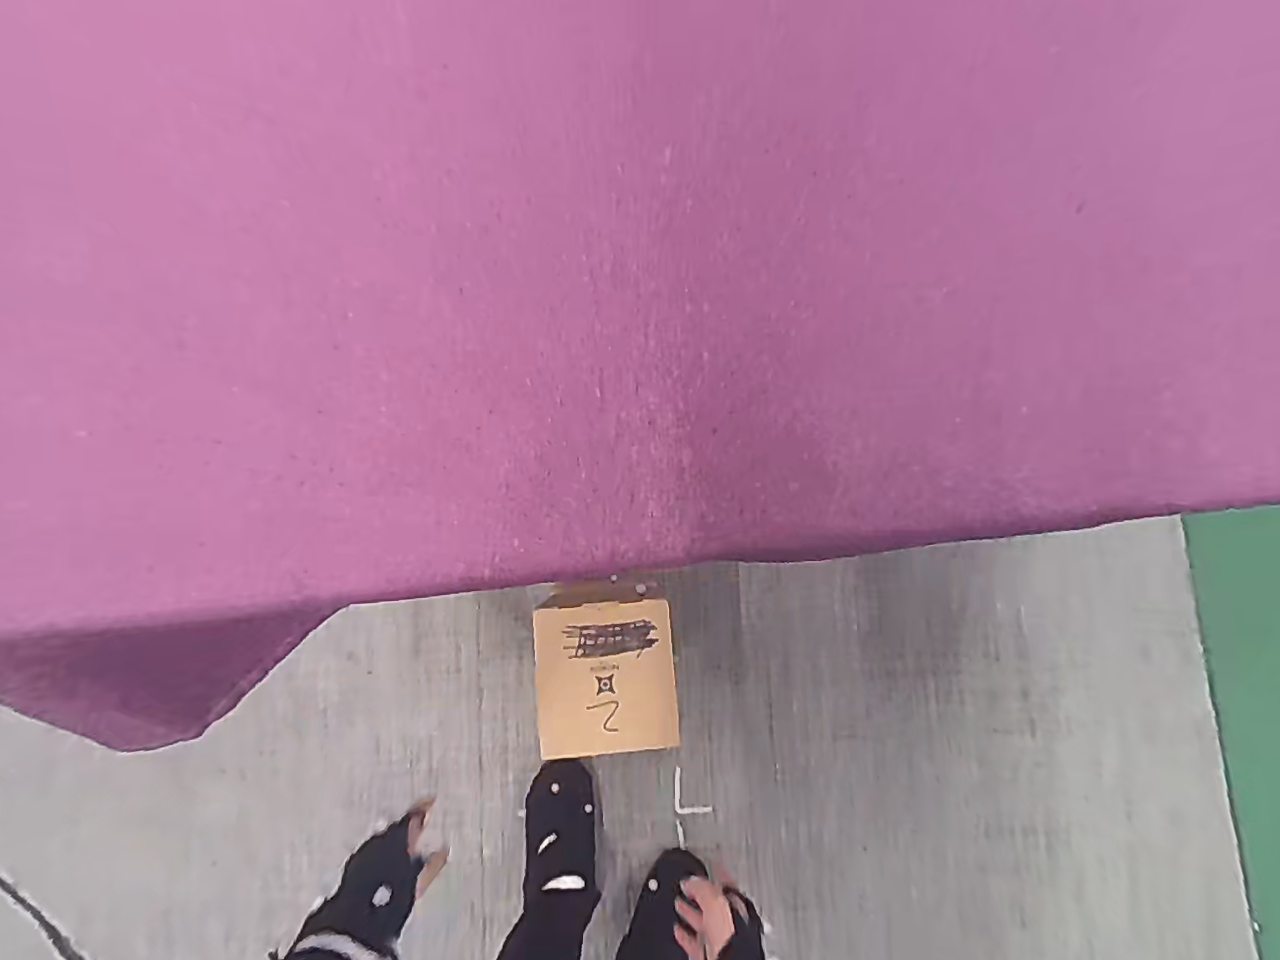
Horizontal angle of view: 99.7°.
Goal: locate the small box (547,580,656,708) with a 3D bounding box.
[{"bbox_3d":[-0.059,0.261,0.896,0.168,0.176,0.179,-3,82,-2],"label":"small box"}]
